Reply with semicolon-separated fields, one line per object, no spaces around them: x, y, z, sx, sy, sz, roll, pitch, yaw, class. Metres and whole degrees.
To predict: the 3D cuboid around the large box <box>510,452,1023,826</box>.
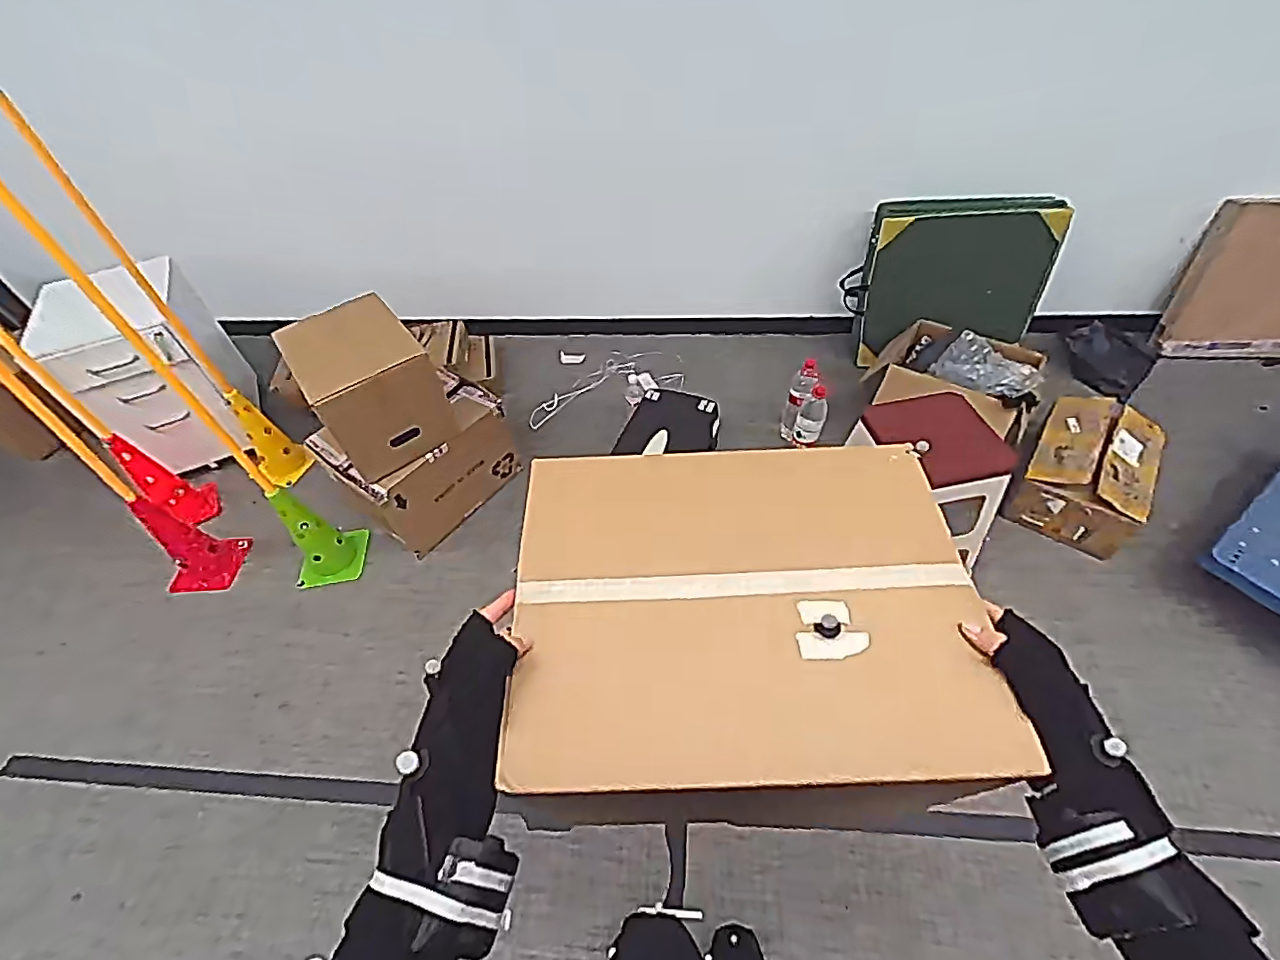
0.095;0.191;0.619;0.408;0.320;0.320;-2;53;1;large box
